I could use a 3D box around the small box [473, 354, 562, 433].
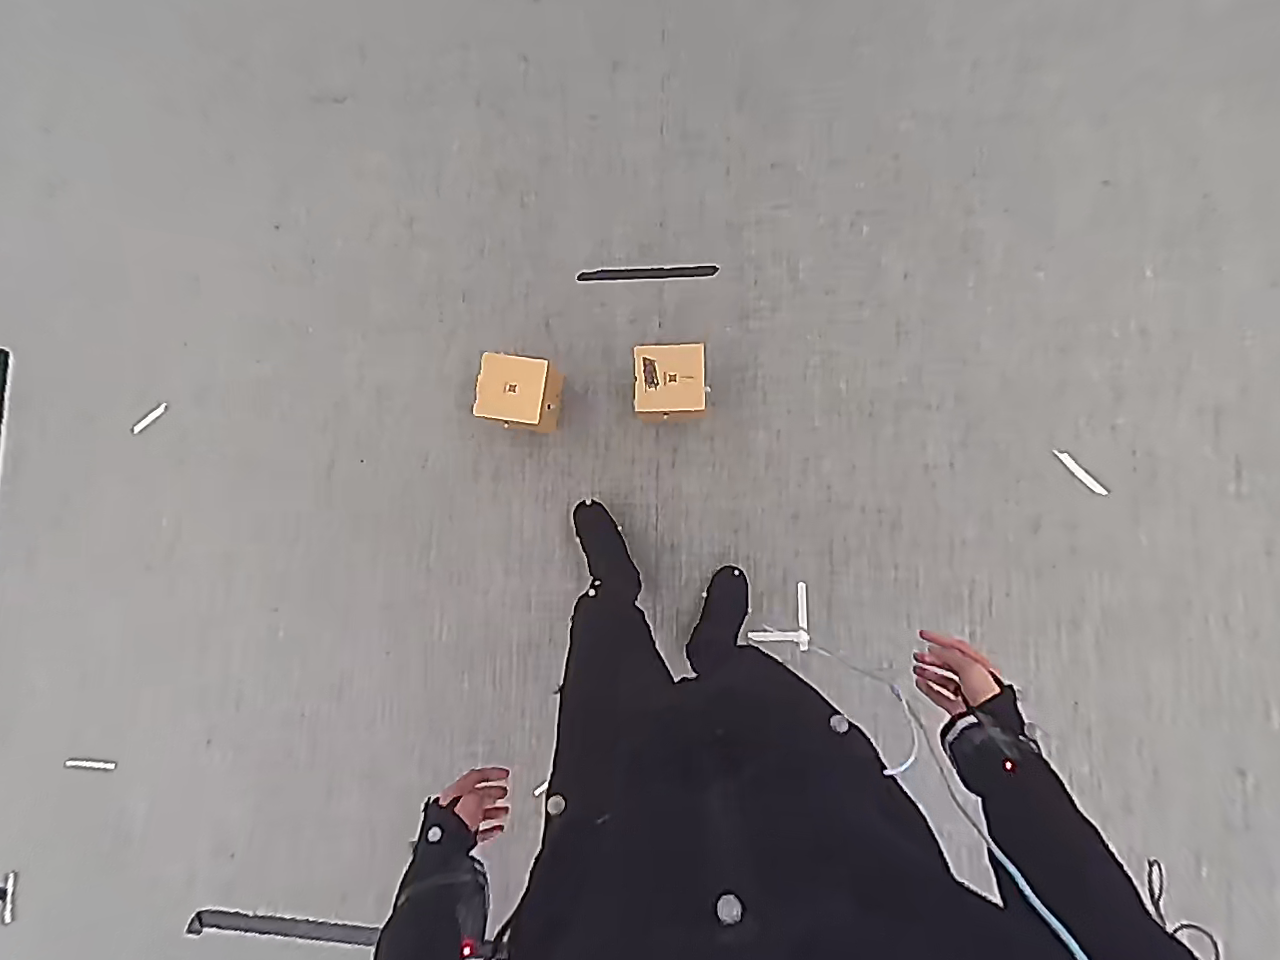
[{"bbox_3d":[-0.317,-0.224,1.441,0.179,0.176,0.168,8,88,7],"label":"small box"}]

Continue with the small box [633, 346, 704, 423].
[{"bbox_3d":[0.077,-0.243,1.404,0.179,0.176,0.168,-1,87,4],"label":"small box"}]
